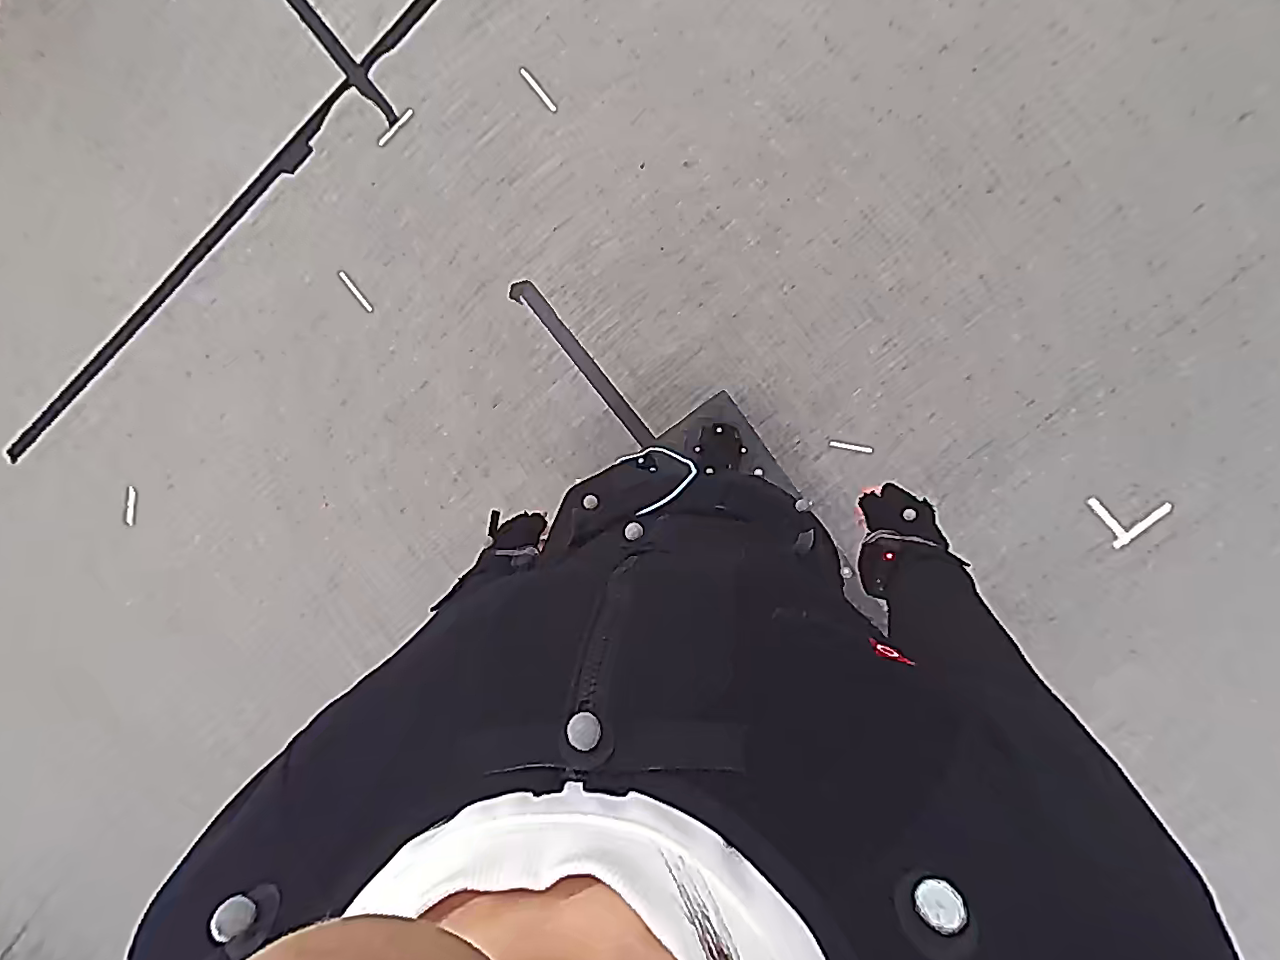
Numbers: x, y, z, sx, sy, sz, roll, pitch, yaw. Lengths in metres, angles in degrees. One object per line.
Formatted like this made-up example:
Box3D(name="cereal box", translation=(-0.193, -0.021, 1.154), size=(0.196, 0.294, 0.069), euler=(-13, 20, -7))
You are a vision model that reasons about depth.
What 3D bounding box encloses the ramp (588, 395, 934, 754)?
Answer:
Box3D(name="ramp", translation=(0.354, 0.298, 1.509), size=(0.509, 0.206, 0.991), euler=(-40, 89, 7))
